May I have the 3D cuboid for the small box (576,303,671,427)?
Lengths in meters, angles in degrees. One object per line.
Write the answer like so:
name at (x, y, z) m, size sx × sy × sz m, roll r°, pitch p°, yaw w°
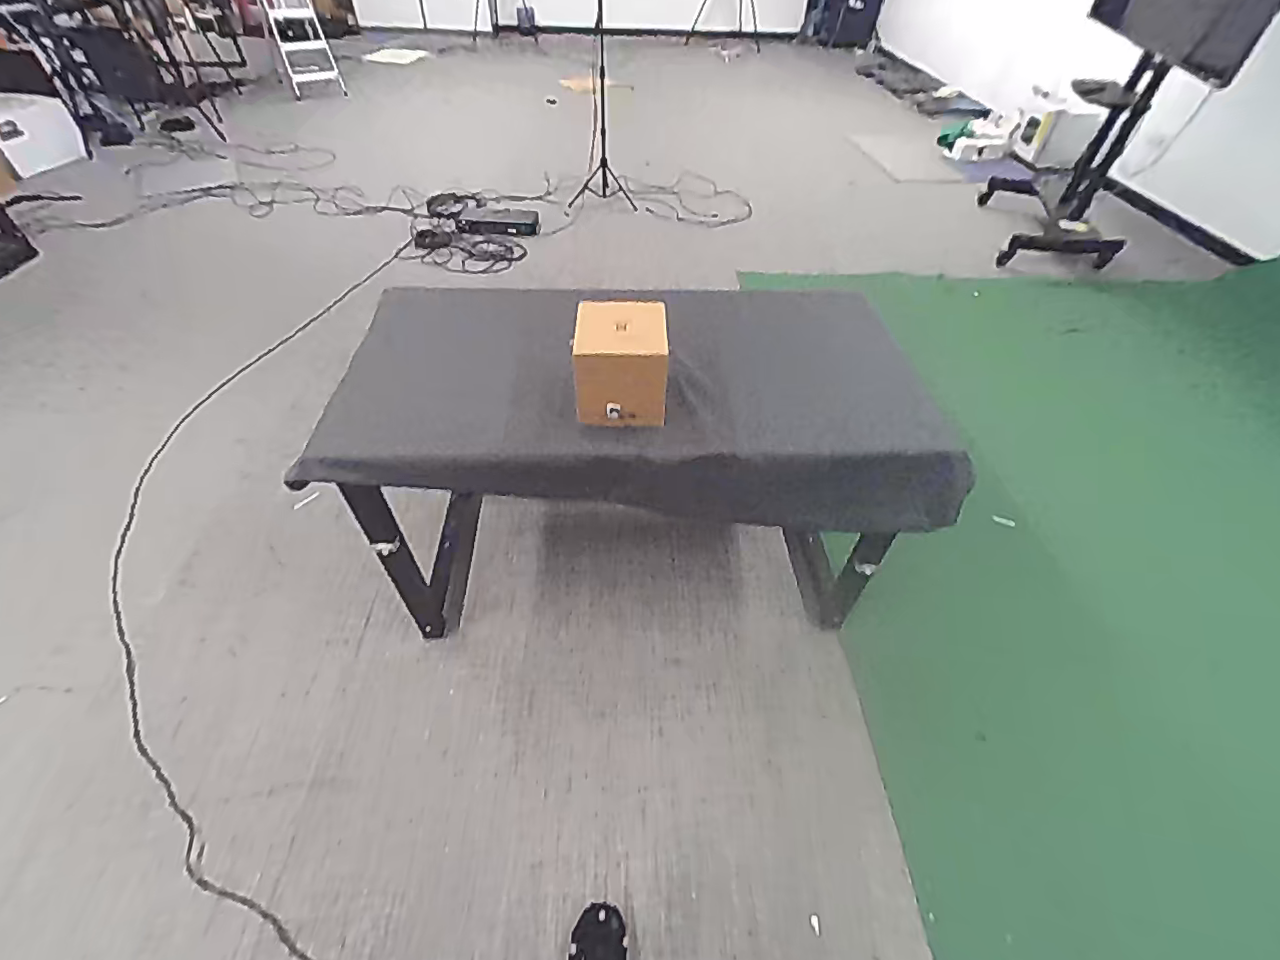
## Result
small box at (-0.030, -0.221, 1.041) m, size 0.168 × 0.176 × 0.179 m, roll -1°, pitch 48°, yaw -1°
